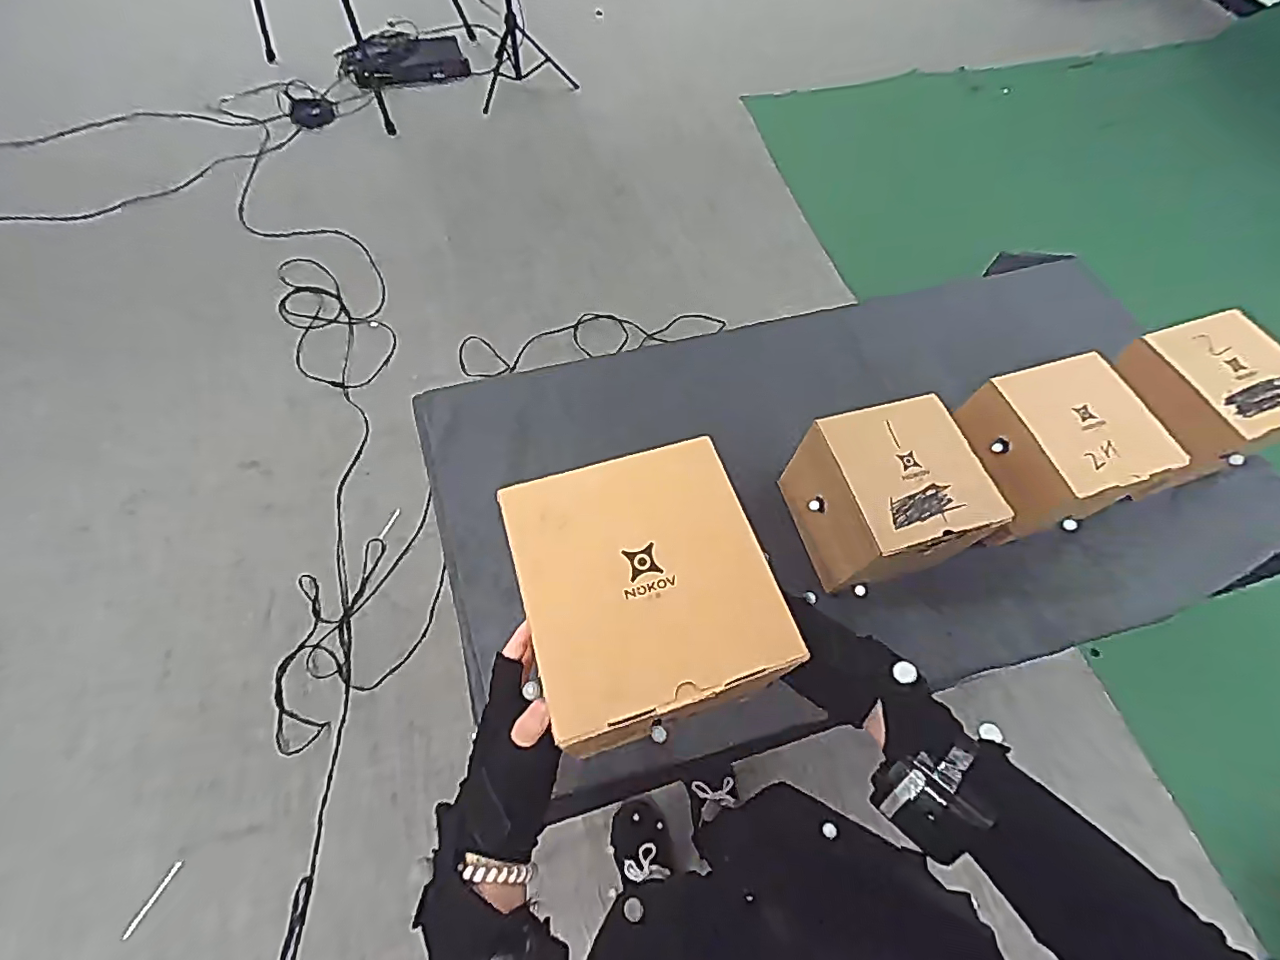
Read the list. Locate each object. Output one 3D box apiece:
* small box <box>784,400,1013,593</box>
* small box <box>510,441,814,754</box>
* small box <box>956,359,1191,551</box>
[{"bbox_3d":[0.305,0.030,0.682,0.168,0.176,0.179,-13,63,-9],"label":"small box"},{"bbox_3d":[0.002,0.099,0.432,0.168,0.176,0.179,-15,63,-12],"label":"small box"},{"bbox_3d":[0.537,-0.029,0.723,0.168,0.176,0.179,-15,65,-9],"label":"small box"}]
